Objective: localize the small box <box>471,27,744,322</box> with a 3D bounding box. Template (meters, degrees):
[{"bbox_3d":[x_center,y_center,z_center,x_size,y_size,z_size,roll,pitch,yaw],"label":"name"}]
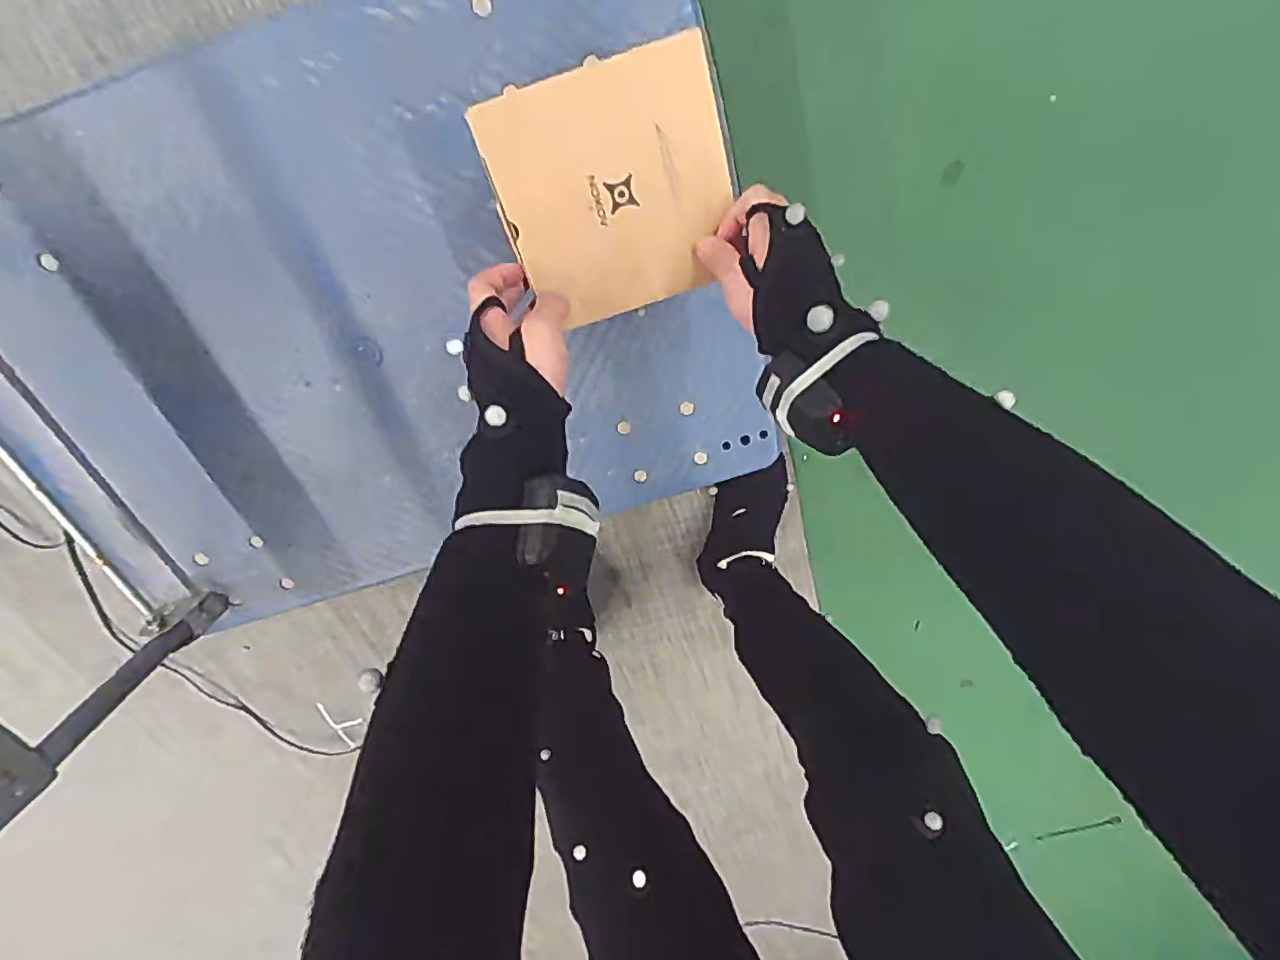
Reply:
[{"bbox_3d":[-0.023,-0.254,0.483,0.179,0.176,0.168,-16,115,2],"label":"small box"}]
